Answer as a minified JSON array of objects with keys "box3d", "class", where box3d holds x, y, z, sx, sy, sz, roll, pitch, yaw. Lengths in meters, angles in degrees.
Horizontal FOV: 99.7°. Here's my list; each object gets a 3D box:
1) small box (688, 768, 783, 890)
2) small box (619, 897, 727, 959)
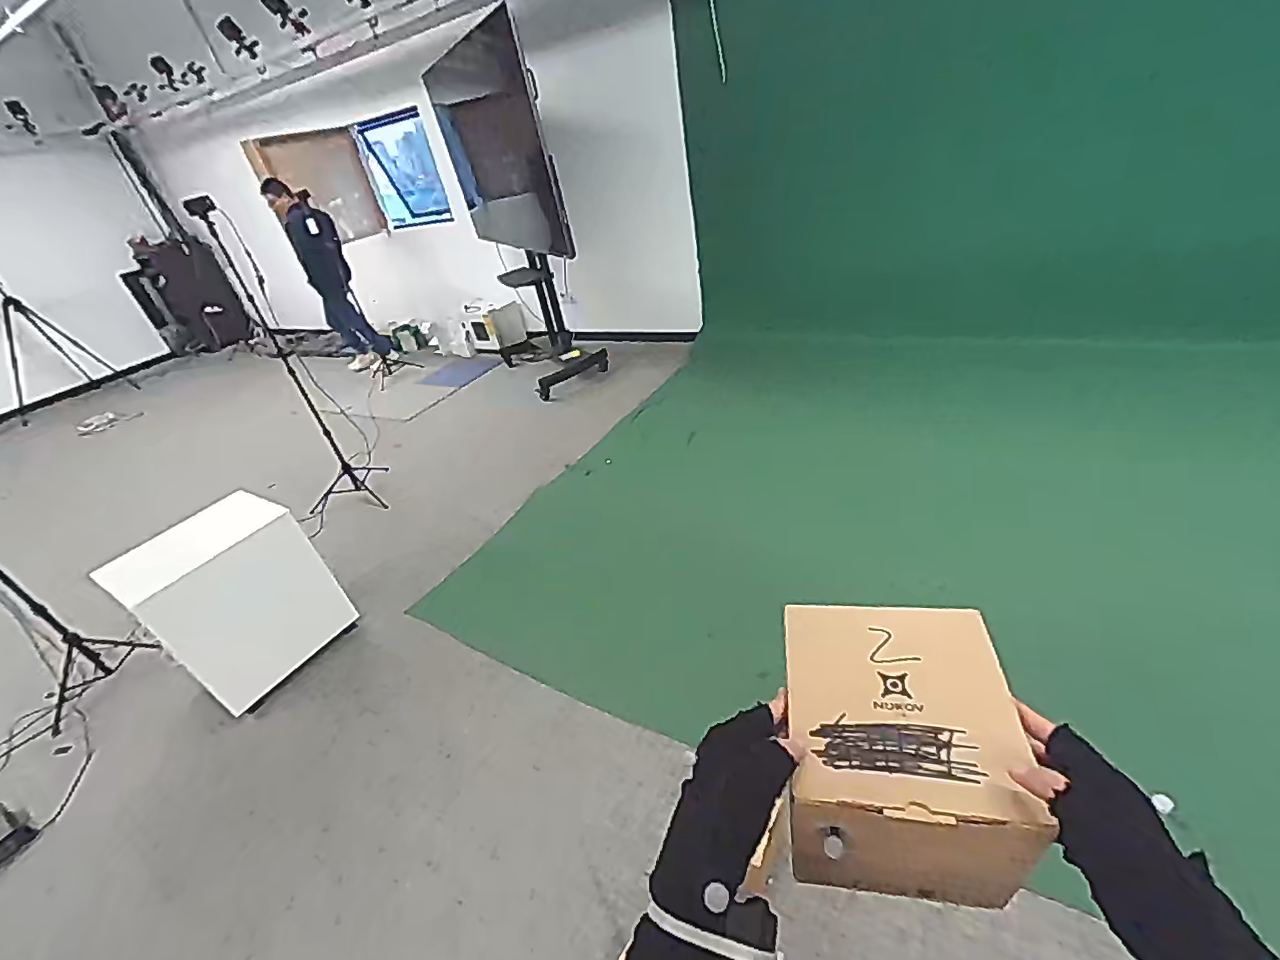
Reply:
[{"box3d":[0.238,0.848,1.311,0.179,0.176,0.168,10,38,31],"class":"small box"},{"box3d":[0.067,1.019,1.103,0.179,0.176,0.168,15,41,34],"class":"small box"}]
